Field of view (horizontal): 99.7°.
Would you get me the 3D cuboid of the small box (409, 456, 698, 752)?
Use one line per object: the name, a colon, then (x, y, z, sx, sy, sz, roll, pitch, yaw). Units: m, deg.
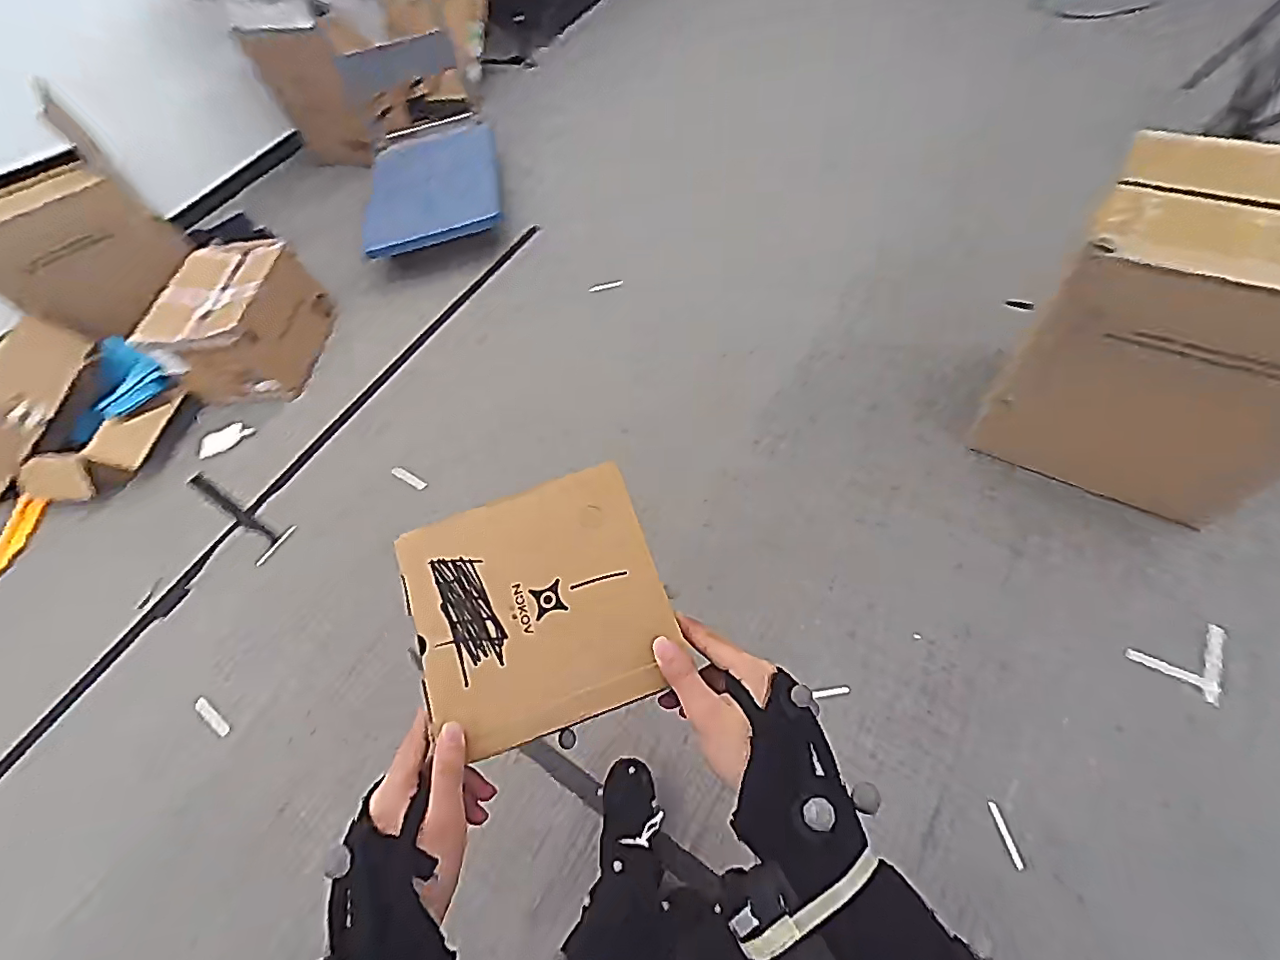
small box: (-0.060, 0.108, 0.450, 0.179, 0.176, 0.168, -18, 69, -4)
